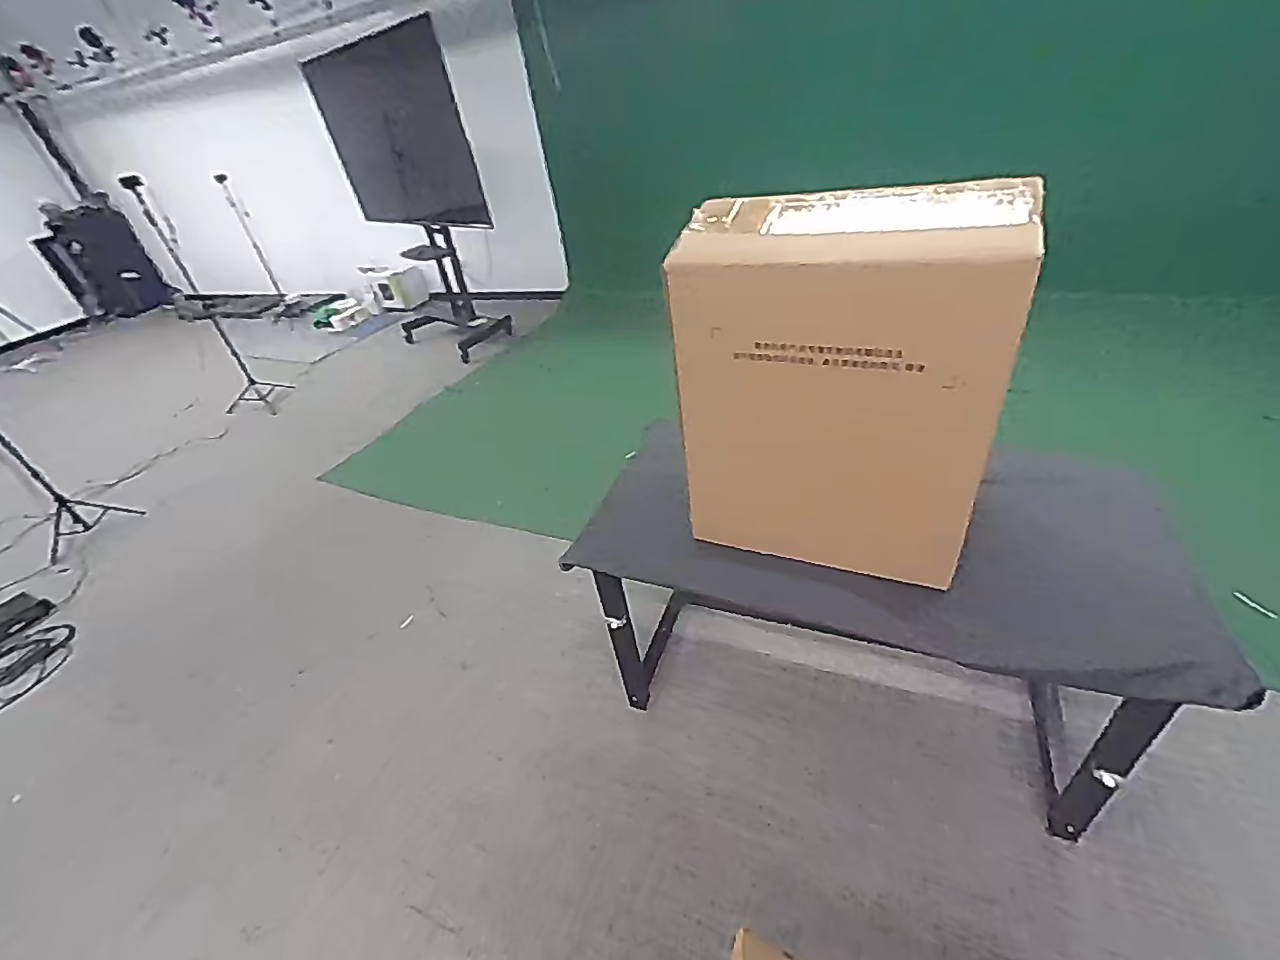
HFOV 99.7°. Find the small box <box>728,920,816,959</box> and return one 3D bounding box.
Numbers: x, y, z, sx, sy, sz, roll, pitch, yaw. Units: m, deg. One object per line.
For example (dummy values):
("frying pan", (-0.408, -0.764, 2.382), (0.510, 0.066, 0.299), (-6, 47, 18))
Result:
("small box", (0.154, 0.635, 0.582), (0.168, 0.176, 0.179), (20, 71, 20))
